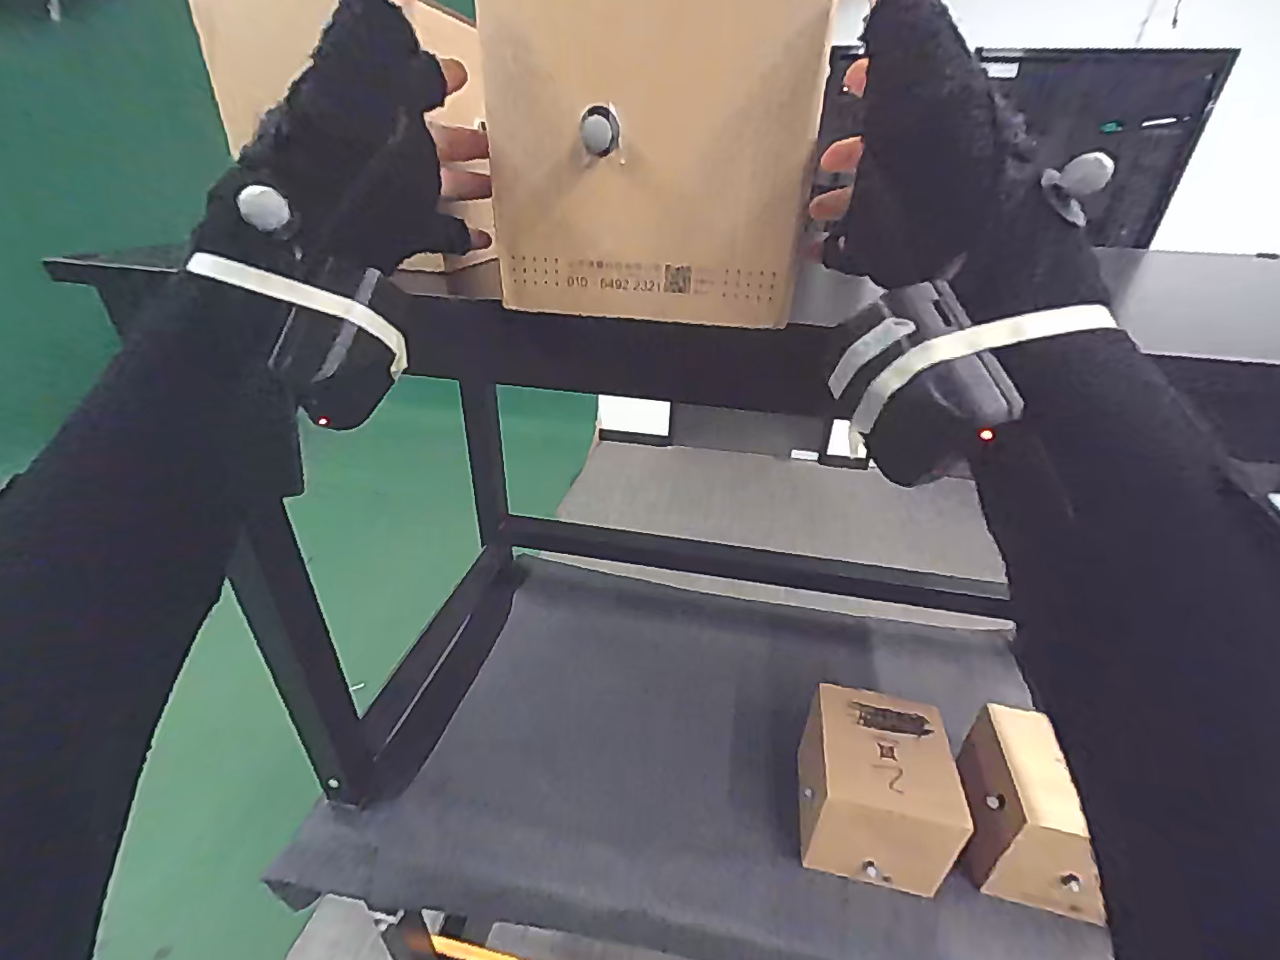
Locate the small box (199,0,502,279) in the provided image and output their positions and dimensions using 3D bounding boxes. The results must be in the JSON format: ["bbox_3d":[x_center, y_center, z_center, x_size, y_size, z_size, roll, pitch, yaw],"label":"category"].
[{"bbox_3d":[-0.209,-0.281,0.466,0.168,0.176,0.179,8,31,9],"label":"small box"}]

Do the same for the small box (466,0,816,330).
[{"bbox_3d":[0.011,-0.201,0.347,0.168,0.176,0.179,7,30,7],"label":"small box"}]

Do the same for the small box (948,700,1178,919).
[{"bbox_3d":[0.542,0.438,0.727,0.168,0.176,0.179,9,30,12],"label":"small box"}]
